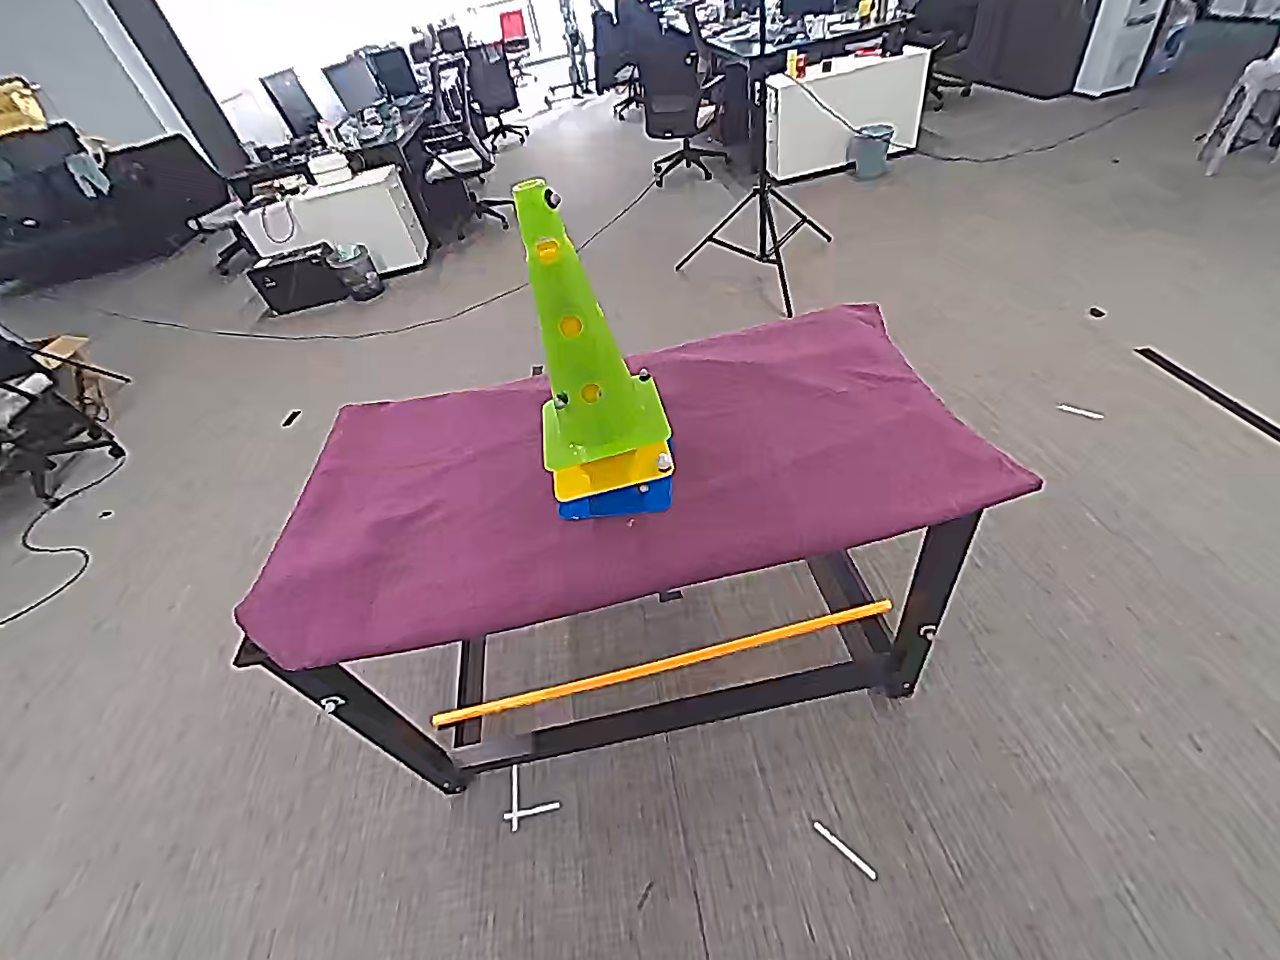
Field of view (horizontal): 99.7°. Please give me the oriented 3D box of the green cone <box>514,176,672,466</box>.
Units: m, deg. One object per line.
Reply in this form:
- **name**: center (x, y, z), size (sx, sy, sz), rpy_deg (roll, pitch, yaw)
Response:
- **green cone**: center (-0.098, -0.228, 0.766), size (0.200, 0.368, 0.202), rpy_deg (-16, 42, 1)
